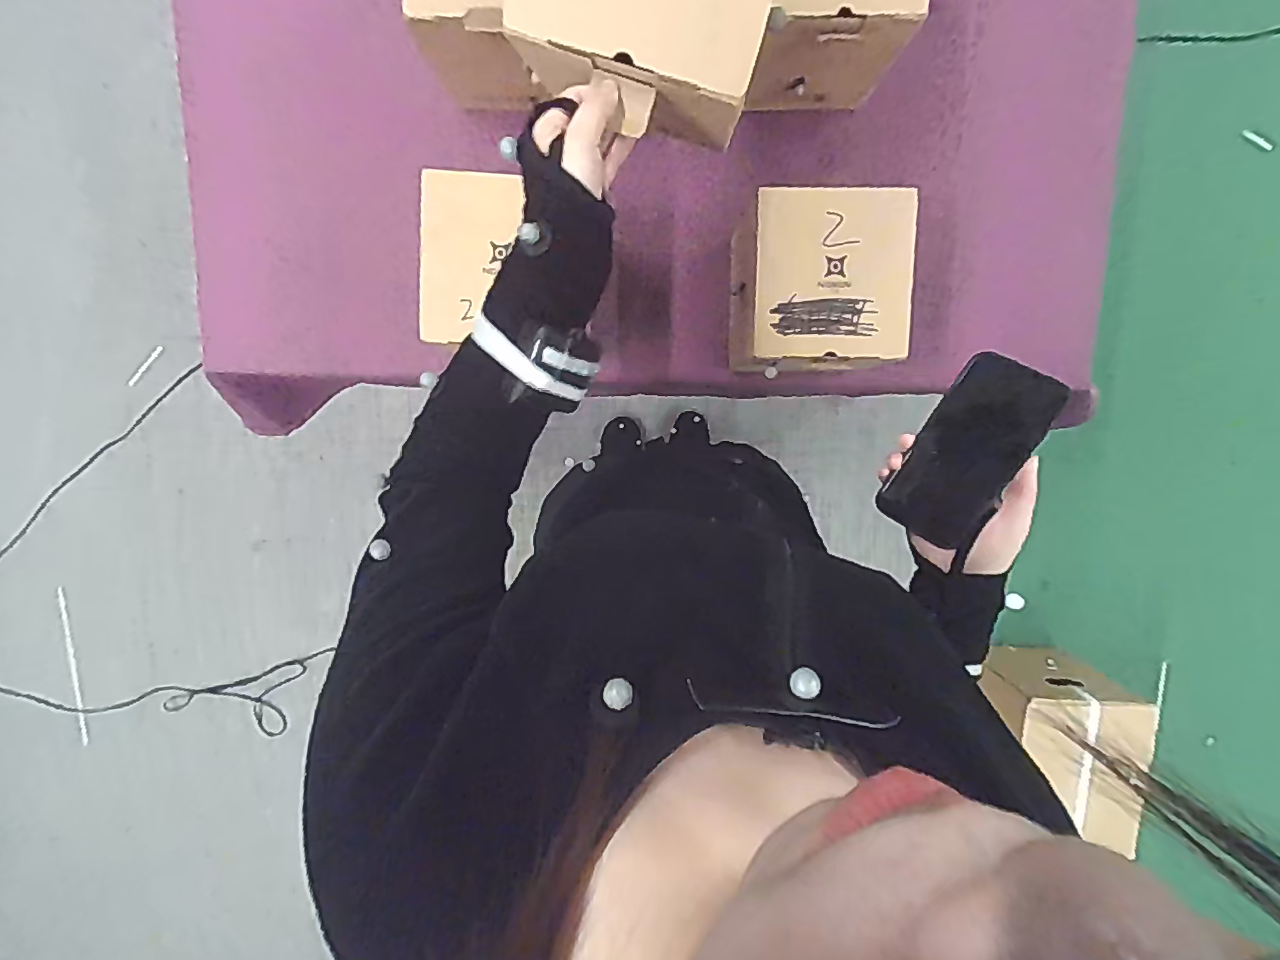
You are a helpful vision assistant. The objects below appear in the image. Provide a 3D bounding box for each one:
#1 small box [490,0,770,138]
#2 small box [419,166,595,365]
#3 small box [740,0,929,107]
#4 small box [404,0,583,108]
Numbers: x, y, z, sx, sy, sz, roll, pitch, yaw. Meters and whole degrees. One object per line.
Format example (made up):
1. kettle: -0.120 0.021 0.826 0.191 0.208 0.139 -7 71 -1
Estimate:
1. small box: 0.013 -0.368 0.381 0.168 0.176 0.179 17 115 -2
2. small box: -0.145 -0.238 0.641 0.168 0.176 0.179 4 97 0
3. small box: 0.201 -0.552 0.598 0.168 0.176 0.179 -1 99 1
4. small box: -0.149 -0.548 0.601 0.168 0.176 0.179 1 98 -1
